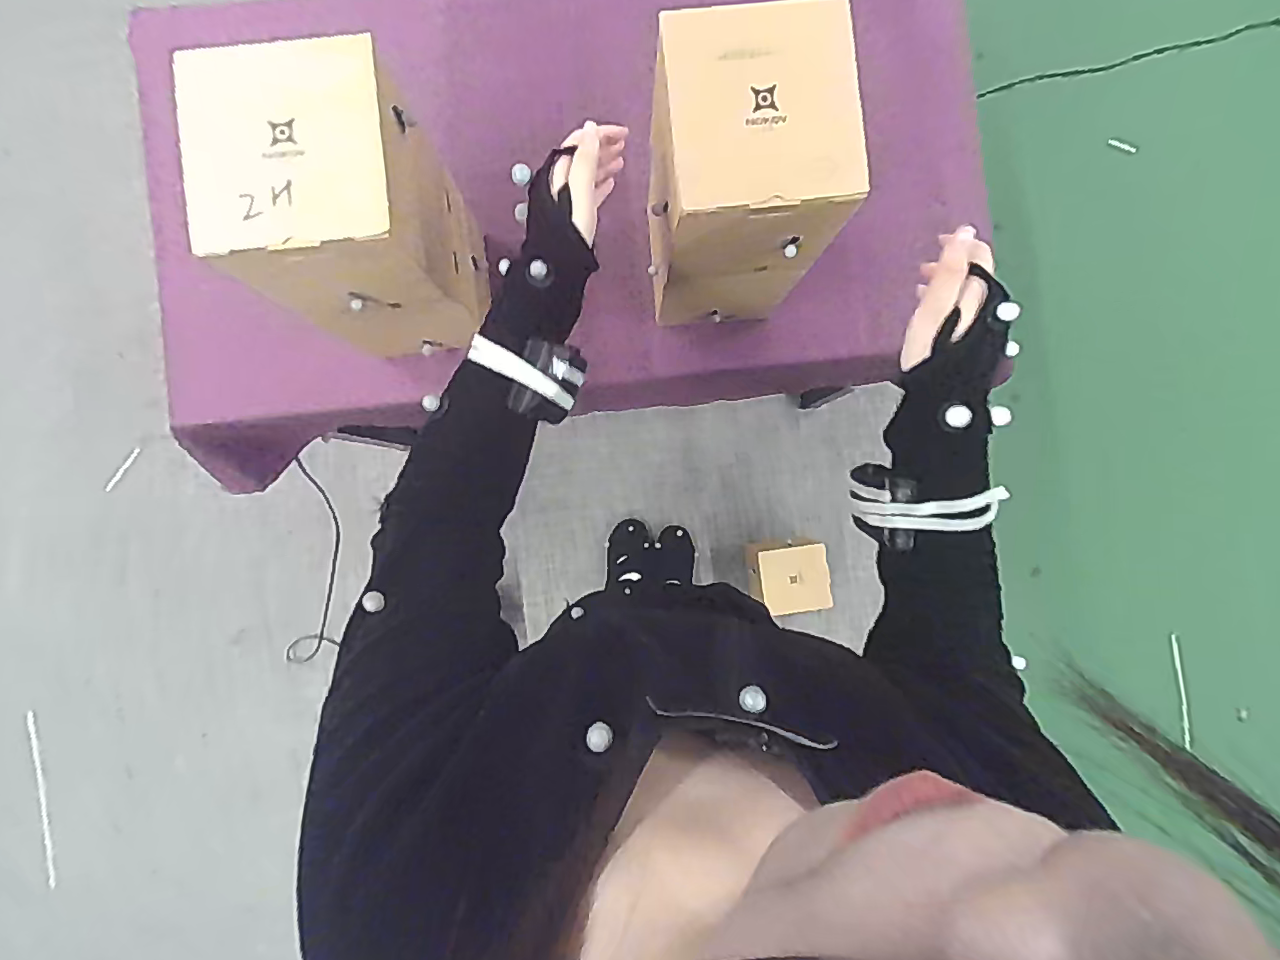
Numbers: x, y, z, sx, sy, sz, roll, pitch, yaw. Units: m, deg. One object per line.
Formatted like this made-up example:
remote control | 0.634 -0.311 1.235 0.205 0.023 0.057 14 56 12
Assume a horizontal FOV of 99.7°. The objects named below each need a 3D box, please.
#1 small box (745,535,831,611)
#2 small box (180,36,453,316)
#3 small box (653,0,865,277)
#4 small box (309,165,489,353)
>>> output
small box | 0.384 0.242 1.437 0.179 0.176 0.168 -8 90 -2
small box | -0.296 -0.279 0.531 0.168 0.176 0.179 -6 90 -1
small box | 0.104 -0.319 0.544 0.168 0.176 0.179 -6 89 -2
small box | -0.301 -0.271 0.696 0.179 0.176 0.168 -8 89 -2
